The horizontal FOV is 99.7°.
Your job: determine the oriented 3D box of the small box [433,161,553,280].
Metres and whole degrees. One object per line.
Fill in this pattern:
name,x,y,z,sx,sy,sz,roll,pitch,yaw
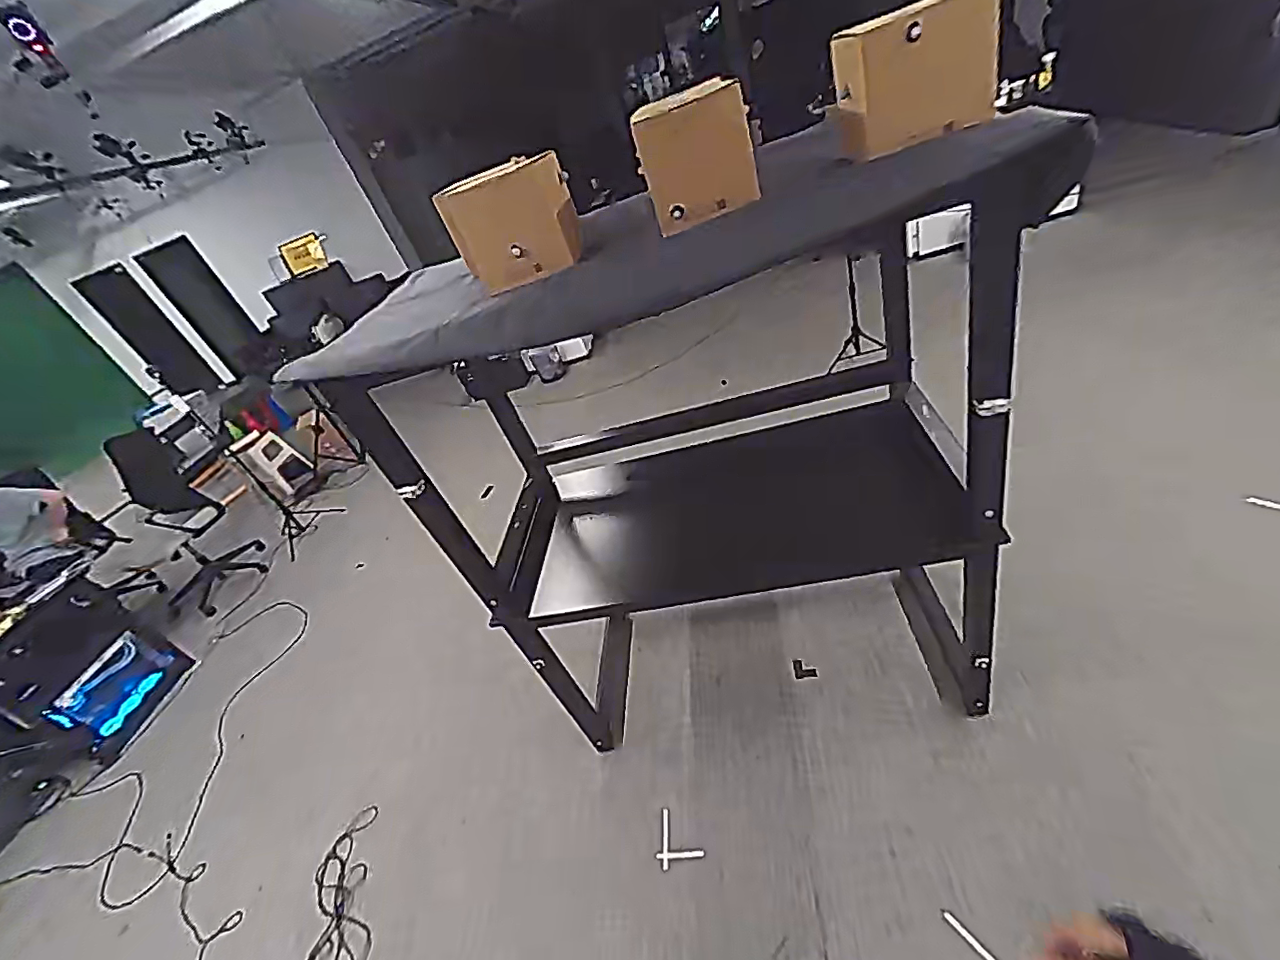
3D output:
small box,-0.302,-0.556,1.161,0.179,0.176,0.168,-14,35,11

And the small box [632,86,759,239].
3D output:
small box,0.093,-0.519,0.894,0.168,0.176,0.179,-14,35,12

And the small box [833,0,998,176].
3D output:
small box,0.392,-0.568,0.791,0.168,0.176,0.179,-14,34,14
